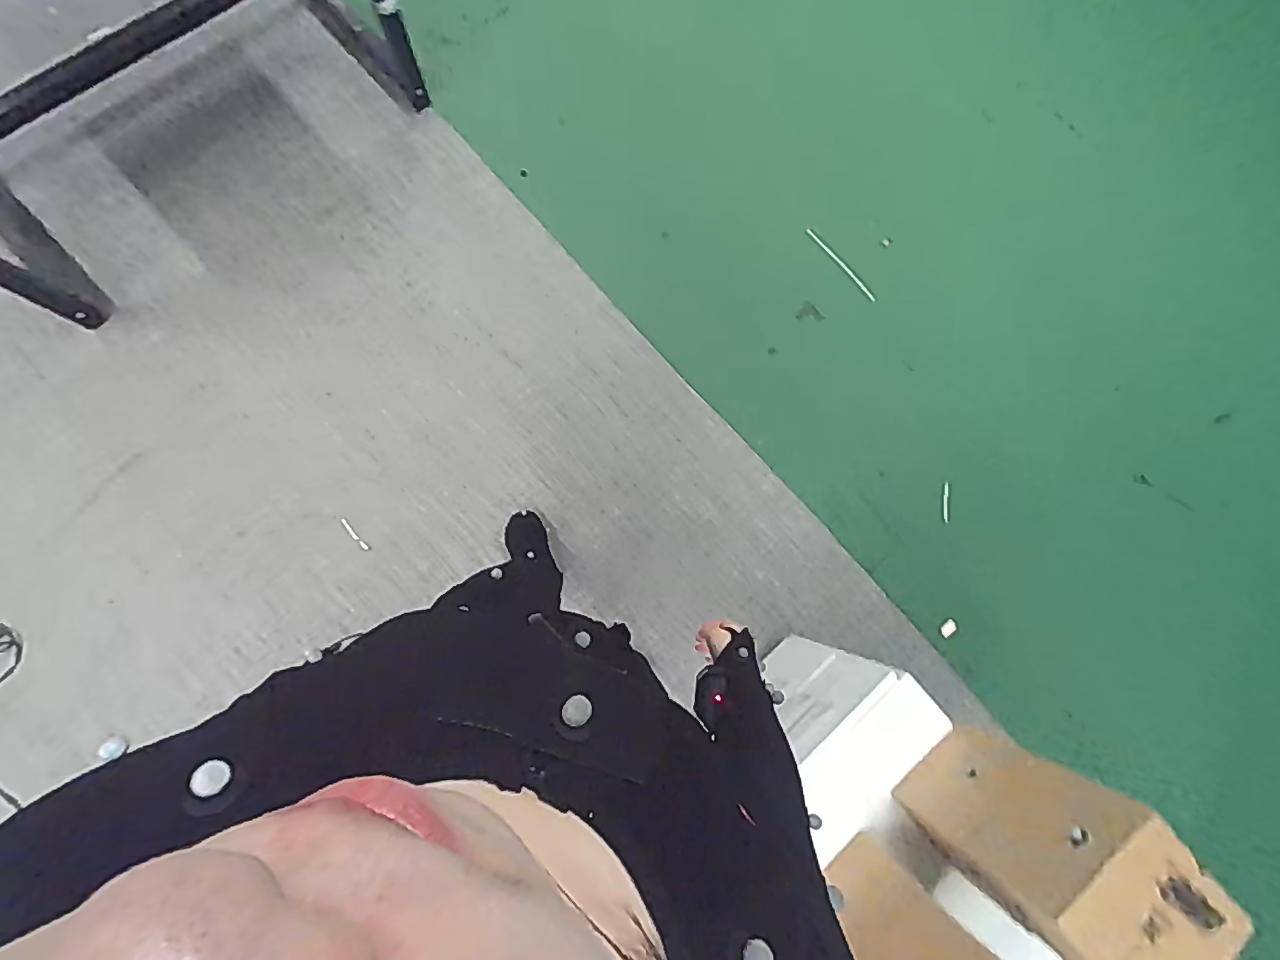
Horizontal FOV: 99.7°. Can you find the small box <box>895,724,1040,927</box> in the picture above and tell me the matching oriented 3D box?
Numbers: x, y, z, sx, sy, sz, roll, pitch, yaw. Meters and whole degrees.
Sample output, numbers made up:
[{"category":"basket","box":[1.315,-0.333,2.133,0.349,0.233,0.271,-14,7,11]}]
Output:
[{"category":"small box","box":[0.547,0.521,0.849,0.179,0.176,0.168,-39,87,-8]}]

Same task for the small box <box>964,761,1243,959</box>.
[{"category":"small box","box":[0.566,0.500,0.685,0.179,0.176,0.168,-40,87,-8]}]

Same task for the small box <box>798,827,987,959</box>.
[{"category":"small box","box":[0.362,0.677,0.808,0.179,0.176,0.168,-40,89,-12]}]
